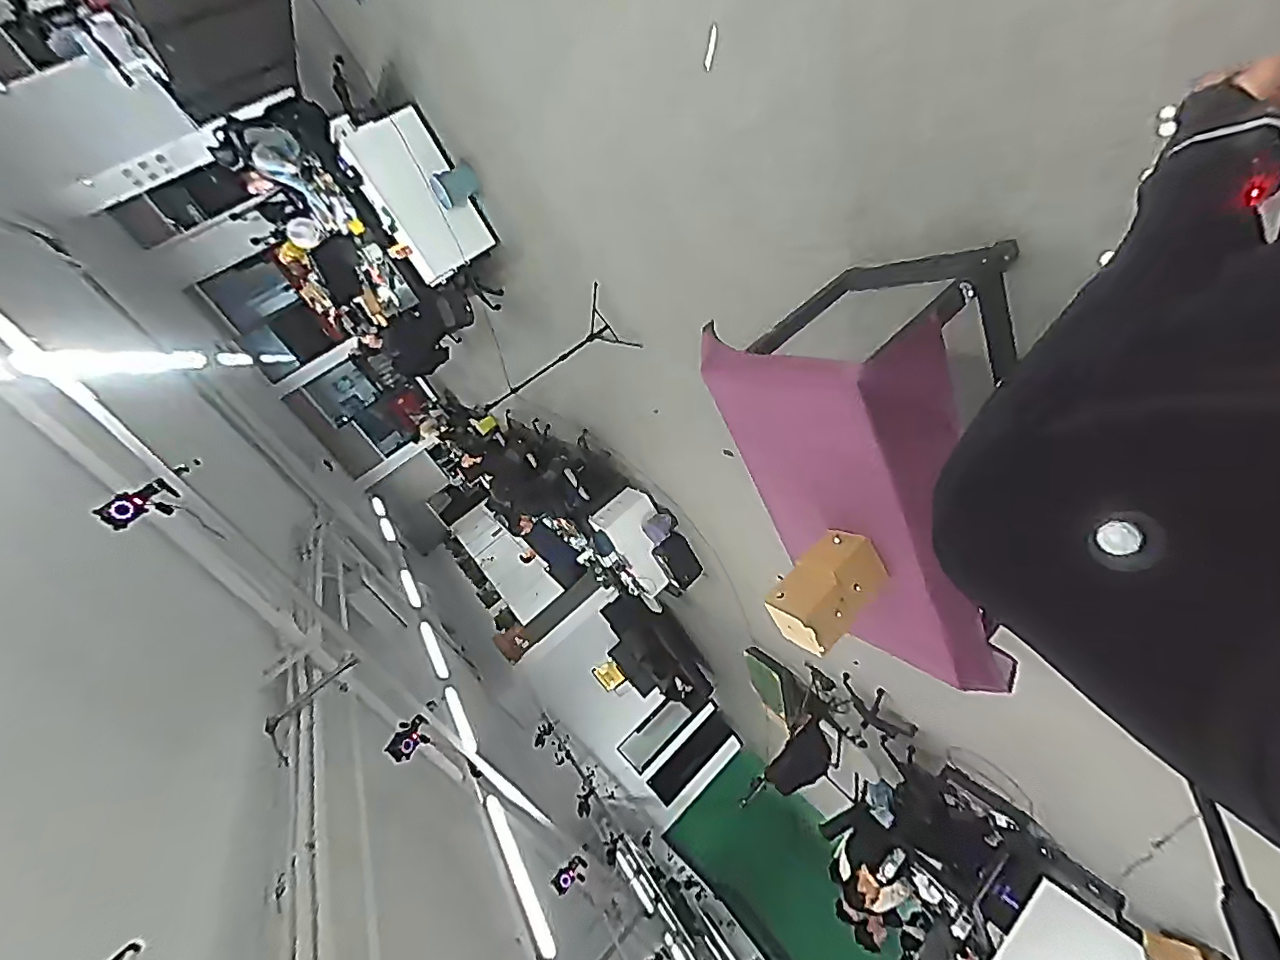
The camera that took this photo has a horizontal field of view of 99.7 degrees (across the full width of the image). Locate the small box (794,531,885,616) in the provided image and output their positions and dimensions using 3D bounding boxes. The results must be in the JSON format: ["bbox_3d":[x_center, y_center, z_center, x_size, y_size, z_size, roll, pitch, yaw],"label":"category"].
[{"bbox_3d":[0.626,0.286,1.686,0.179,0.176,0.168,56,162,-16],"label":"small box"}]

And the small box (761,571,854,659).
[{"bbox_3d":[0.512,0.403,1.652,0.168,0.176,0.179,57,162,-22],"label":"small box"}]
